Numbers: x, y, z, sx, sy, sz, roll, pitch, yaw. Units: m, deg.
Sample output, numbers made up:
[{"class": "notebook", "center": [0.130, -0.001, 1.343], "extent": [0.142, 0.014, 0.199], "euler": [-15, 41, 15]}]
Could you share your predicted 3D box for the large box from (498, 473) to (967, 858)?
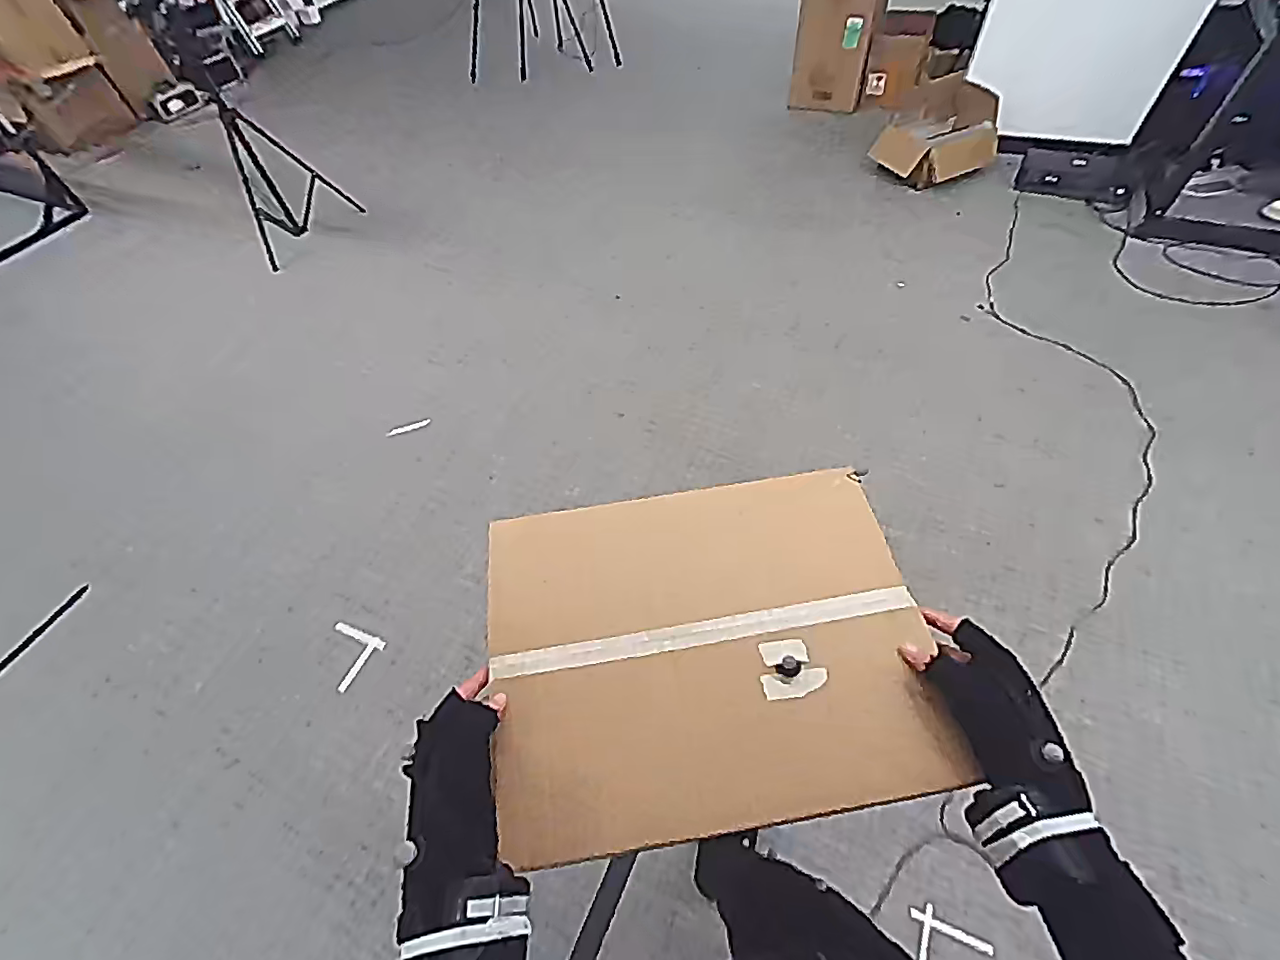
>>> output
[{"class": "large box", "center": [0.067, 0.231, 0.652], "extent": [0.408, 0.320, 0.320], "euler": [-9, 57, -3]}]
